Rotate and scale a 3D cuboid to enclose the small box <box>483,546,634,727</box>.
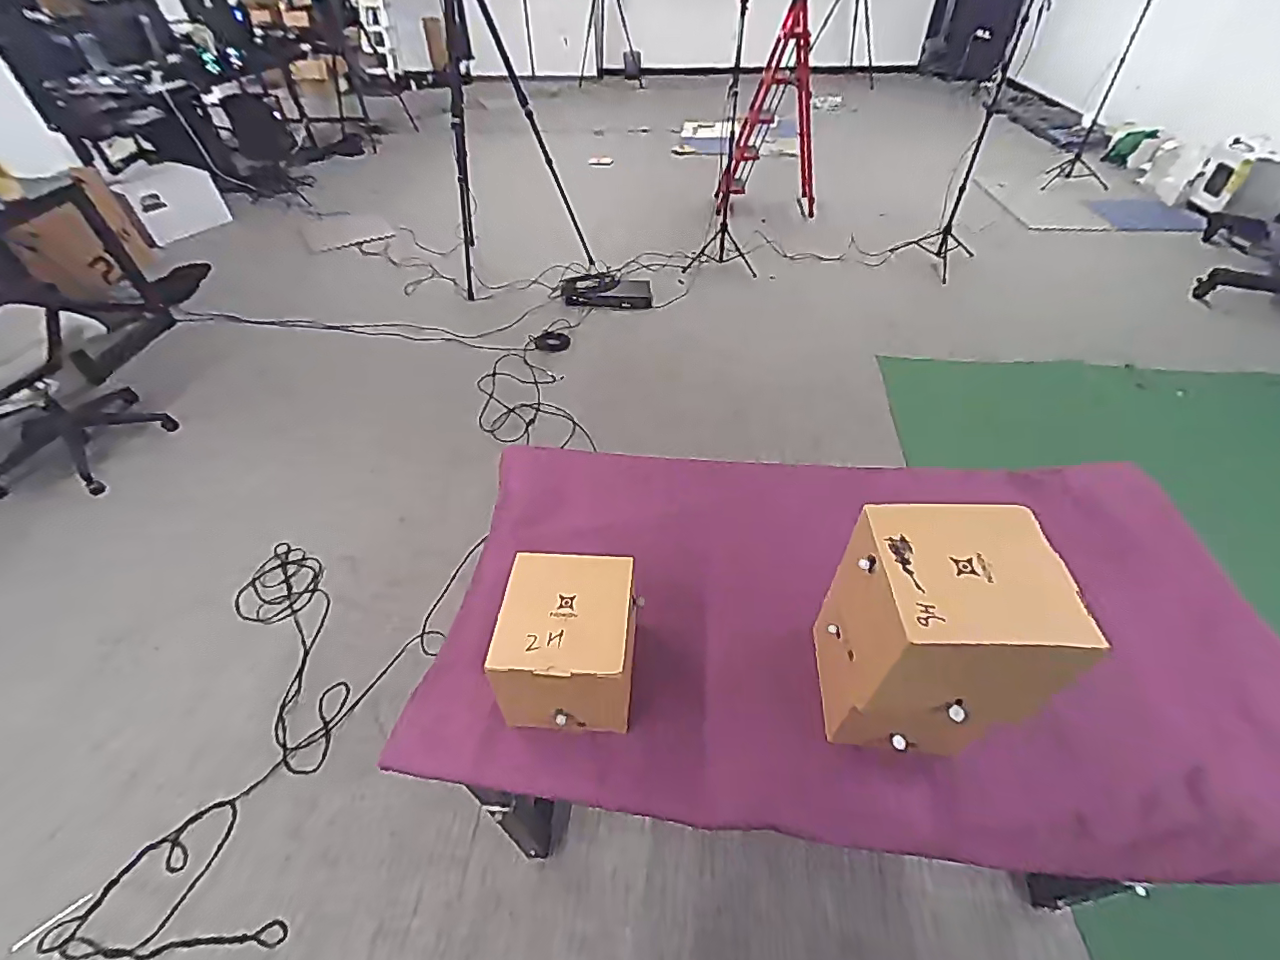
[{"bbox_3d":[-0.097,0.212,0.739,0.168,0.176,0.179,2,45,4],"label":"small box"}]

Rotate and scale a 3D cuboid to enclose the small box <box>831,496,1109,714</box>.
[{"bbox_3d":[0.324,0.136,0.579,0.179,0.176,0.168,2,46,3],"label":"small box"}]

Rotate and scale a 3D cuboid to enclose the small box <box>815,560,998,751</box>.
[{"bbox_3d":[0.337,0.231,0.714,0.168,0.176,0.179,4,46,6],"label":"small box"}]
